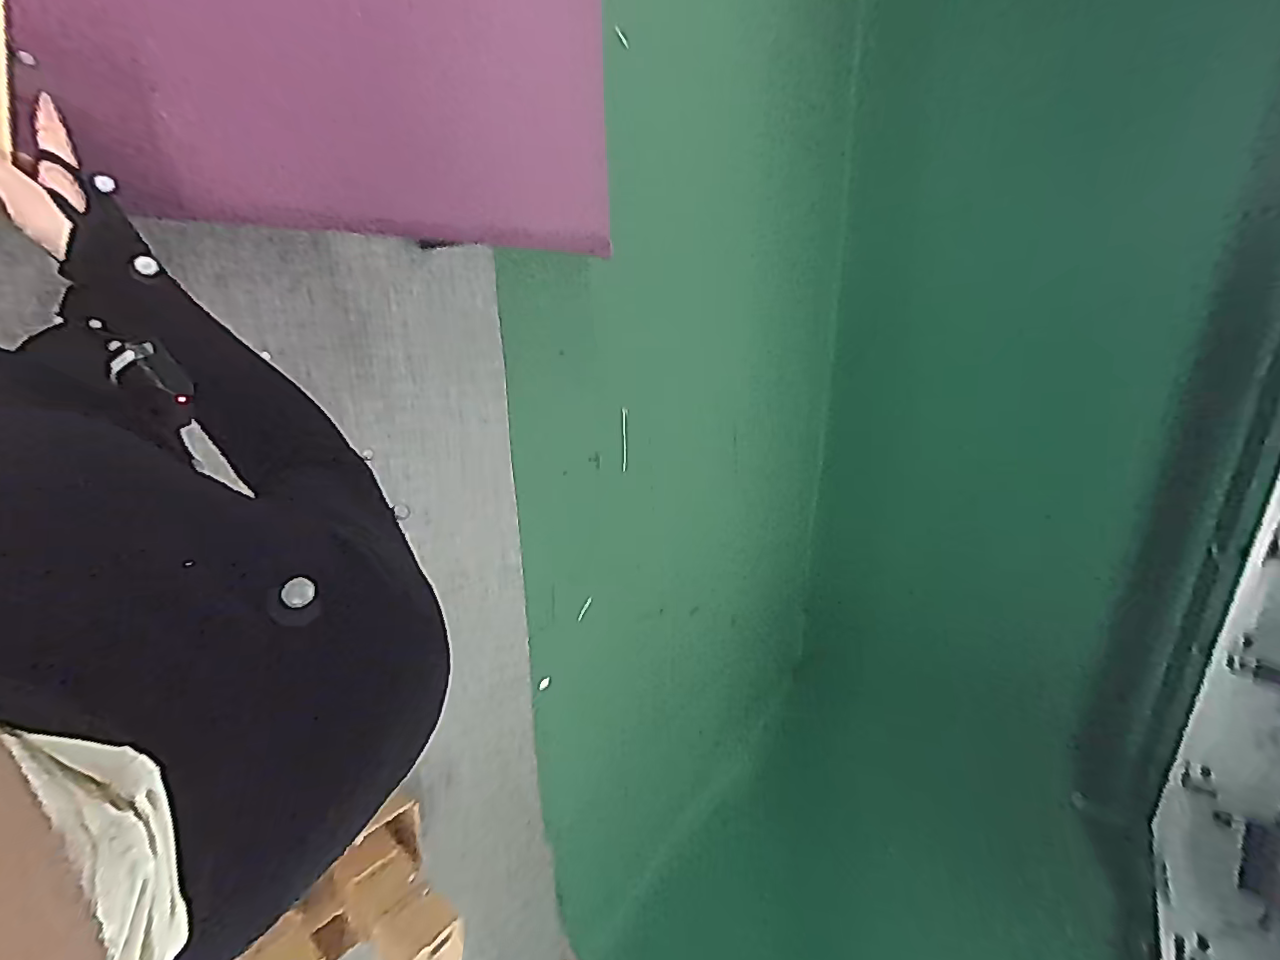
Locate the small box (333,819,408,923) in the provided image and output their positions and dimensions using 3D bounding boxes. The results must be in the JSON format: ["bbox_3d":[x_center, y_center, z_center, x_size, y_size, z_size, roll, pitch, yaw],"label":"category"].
[{"bbox_3d":[-0.876,1.262,1.759,0.168,0.176,0.179,-15,113,-49],"label":"small box"}]

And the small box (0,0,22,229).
[{"bbox_3d":[-0.603,-0.318,0.415,0.168,0.176,0.179,-1,99,-48],"label":"small box"}]

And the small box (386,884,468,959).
[{"bbox_3d":[-0.618,1.326,1.566,0.168,0.176,0.179,-15,114,-48],"label":"small box"}]

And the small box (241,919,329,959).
[{"bbox_3d":[-0.940,1.336,1.433,0.168,0.176,0.179,-12,110,-49],"label":"small box"}]

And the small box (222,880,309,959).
[{"bbox_3d":[-1.061,1.306,1.540,0.168,0.176,0.179,-14,111,-49],"label":"small box"}]
